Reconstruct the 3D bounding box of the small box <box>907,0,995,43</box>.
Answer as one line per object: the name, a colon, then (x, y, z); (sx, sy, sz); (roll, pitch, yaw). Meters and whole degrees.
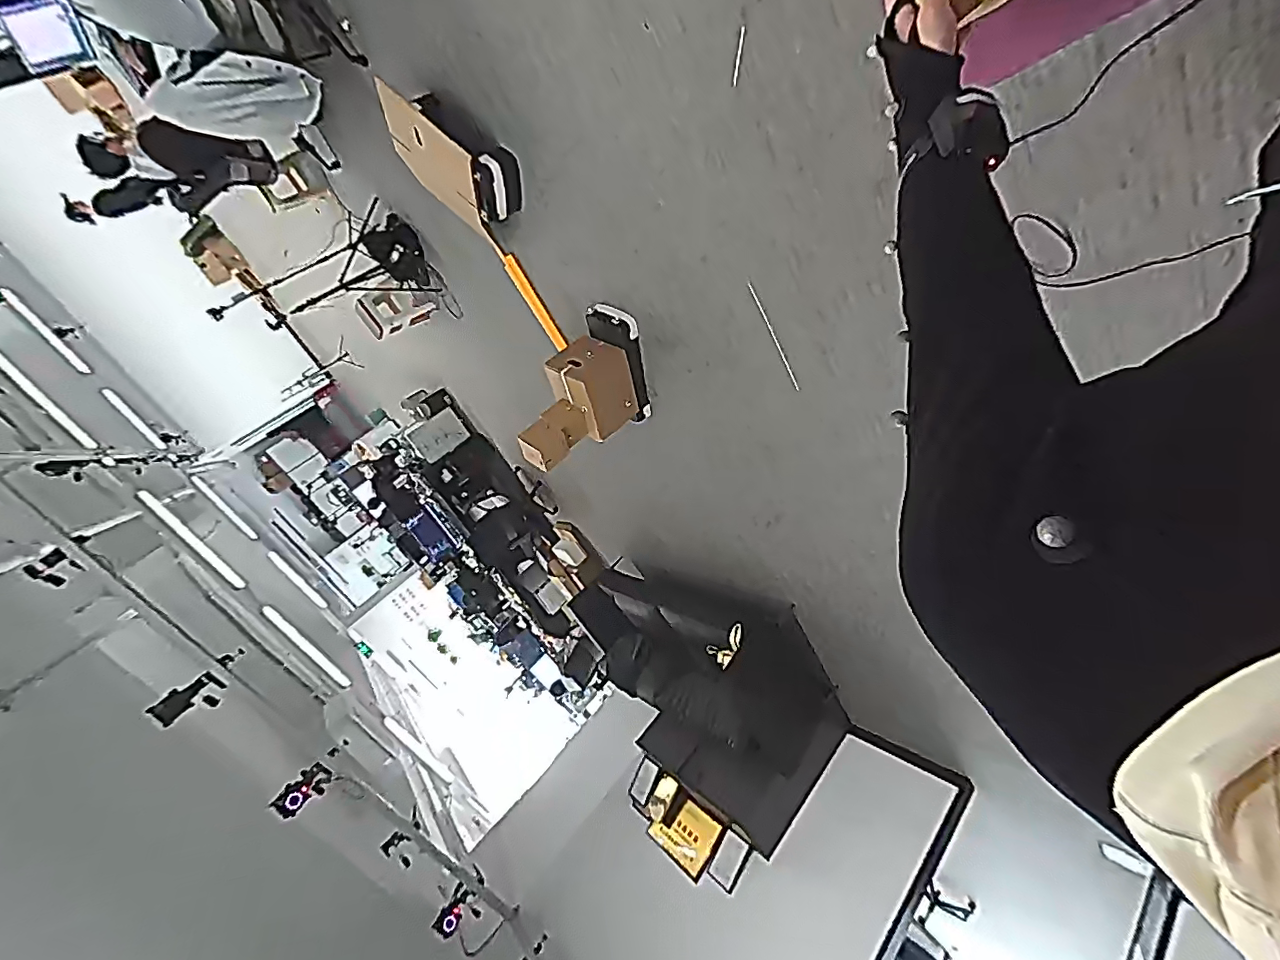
small box: (0.335, -0.558, 0.484); (0.179, 0.176, 0.168); (55, 153, -15)
